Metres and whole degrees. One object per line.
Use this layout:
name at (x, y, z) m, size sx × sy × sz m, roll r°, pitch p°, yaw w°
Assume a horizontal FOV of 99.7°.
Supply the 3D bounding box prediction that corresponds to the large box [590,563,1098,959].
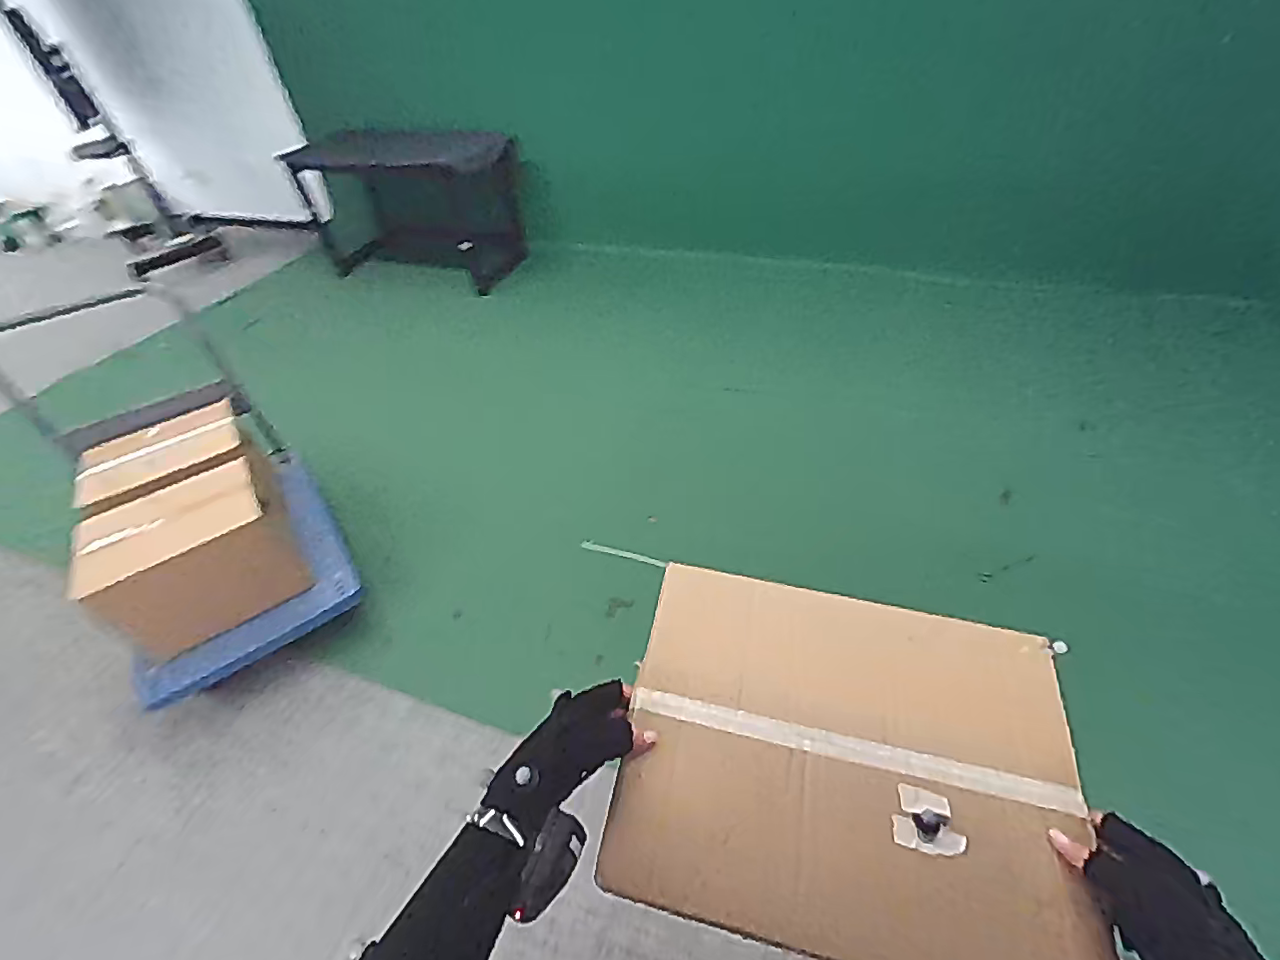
large box at (0.181, 0.334, 0.628) m, size 0.408 × 0.320 × 0.320 m, roll 10°, pitch 53°, yaw 9°
